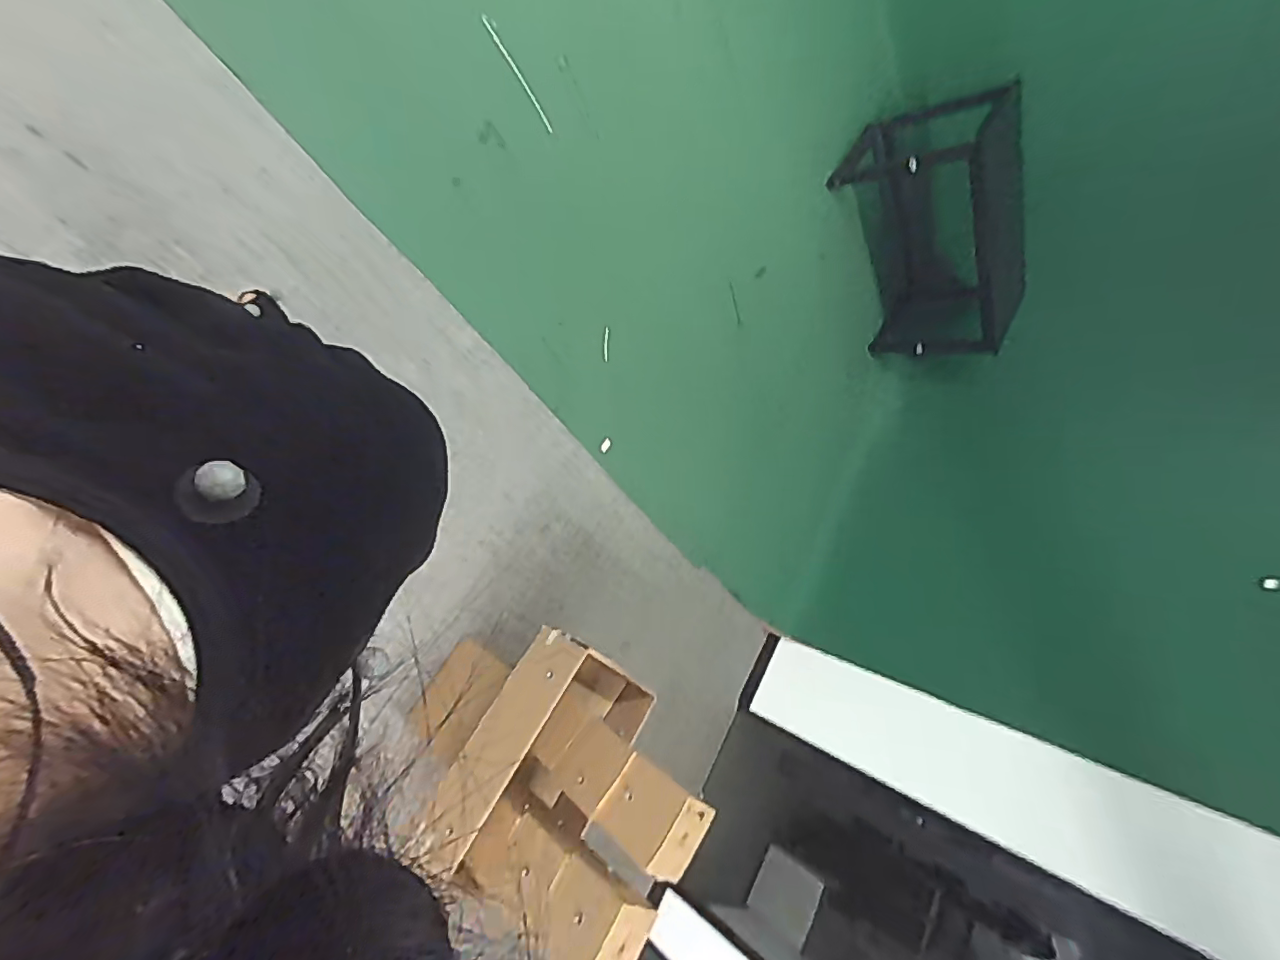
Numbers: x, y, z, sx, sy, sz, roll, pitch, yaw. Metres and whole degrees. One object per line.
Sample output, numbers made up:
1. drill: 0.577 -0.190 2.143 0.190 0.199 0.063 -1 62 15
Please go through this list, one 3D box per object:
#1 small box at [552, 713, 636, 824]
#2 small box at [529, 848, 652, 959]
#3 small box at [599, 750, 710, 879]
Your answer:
1. small box: -0.097 0.732 1.364 0.179 0.176 0.168 -50 132 -21
2. small box: -0.112 0.945 1.163 0.179 0.176 0.168 -55 133 -22
3. small box: 0.026 0.779 1.267 0.179 0.176 0.168 -51 134 -18
